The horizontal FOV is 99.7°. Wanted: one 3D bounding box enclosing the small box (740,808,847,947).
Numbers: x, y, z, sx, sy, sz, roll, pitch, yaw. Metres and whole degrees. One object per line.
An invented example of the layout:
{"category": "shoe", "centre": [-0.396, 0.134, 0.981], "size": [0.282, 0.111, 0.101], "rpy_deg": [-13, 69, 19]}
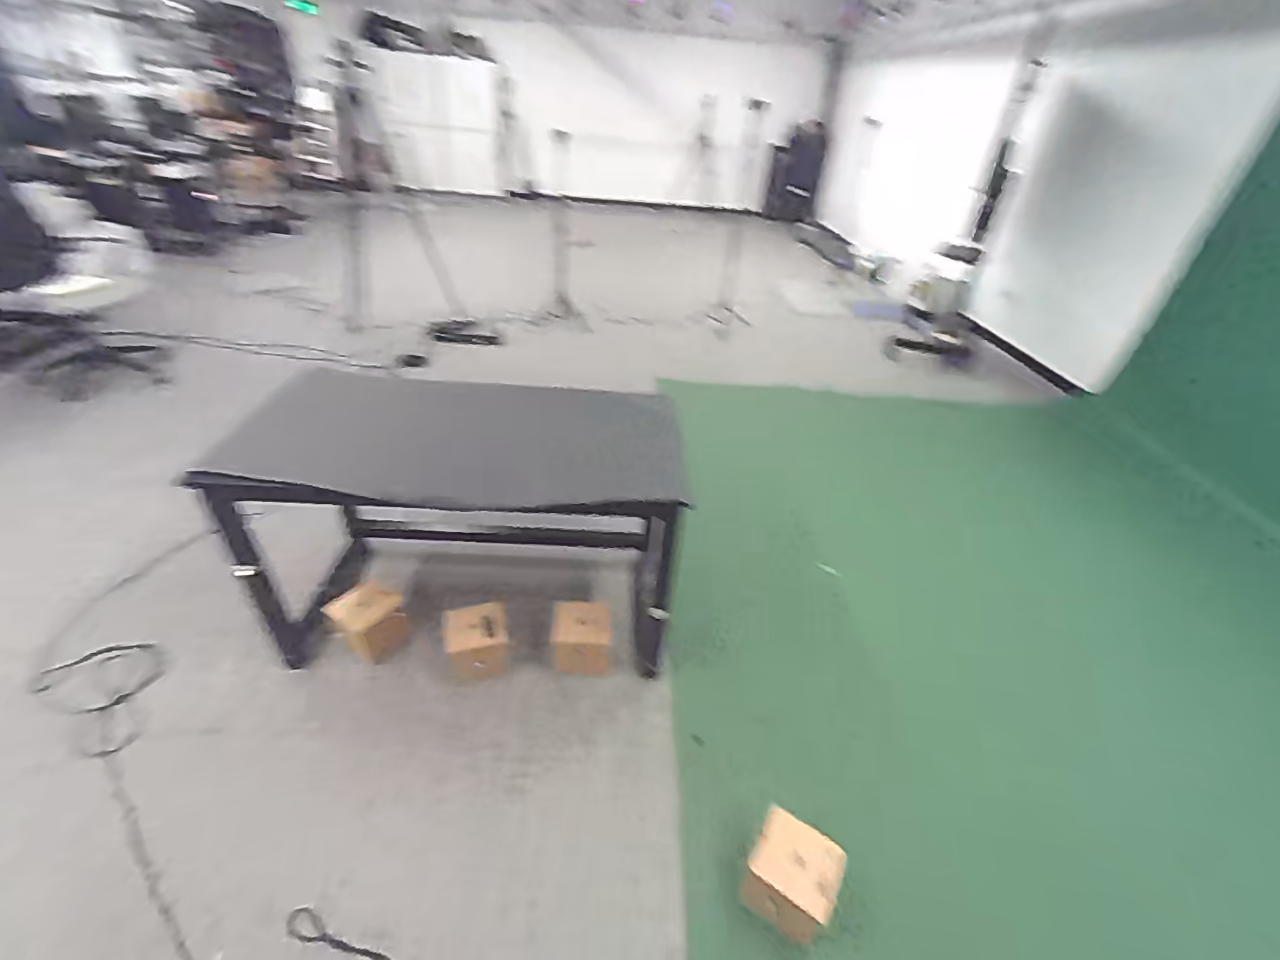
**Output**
{"category": "small box", "centre": [0.347, 0.917, 1.245], "size": [0.179, 0.176, 0.168], "rpy_deg": [24, 38, 26]}

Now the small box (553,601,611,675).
{"category": "small box", "centre": [-0.184, 0.514, 1.750], "size": [0.179, 0.176, 0.168], "rpy_deg": [3, 36, -4]}

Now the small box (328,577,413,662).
{"category": "small box", "centre": [-0.867, 0.454, 1.755], "size": [0.168, 0.176, 0.179], "rpy_deg": [23, 38, 24]}
